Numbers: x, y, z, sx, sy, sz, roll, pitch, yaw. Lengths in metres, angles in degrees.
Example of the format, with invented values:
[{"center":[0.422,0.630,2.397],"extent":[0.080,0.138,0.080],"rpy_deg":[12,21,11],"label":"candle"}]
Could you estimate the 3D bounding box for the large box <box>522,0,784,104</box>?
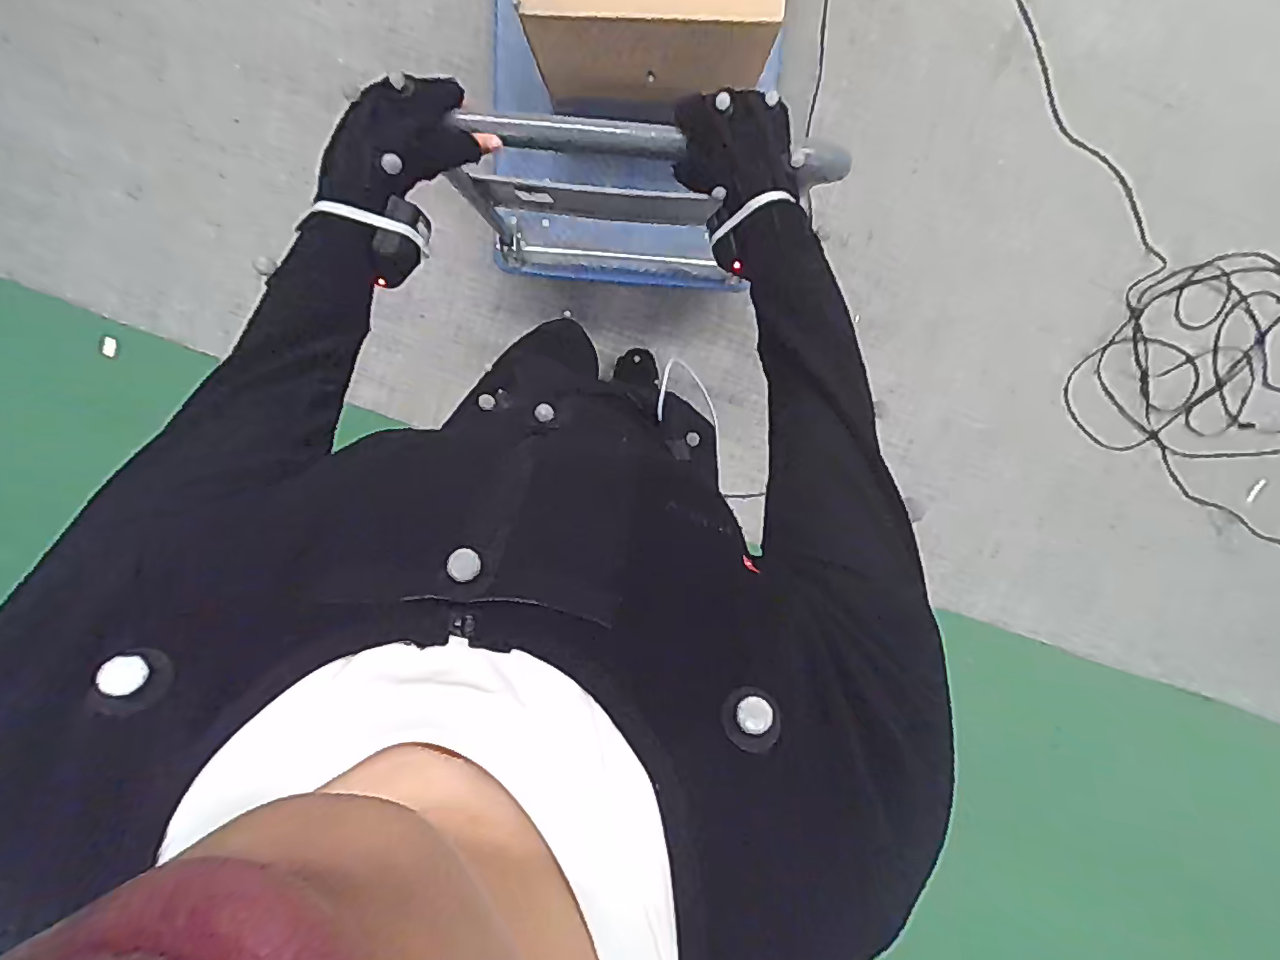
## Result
[{"center":[0.024,-0.881,0.930],"extent":[0.408,0.320,0.320],"rpy_deg":[1,104,0],"label":"large box"}]
